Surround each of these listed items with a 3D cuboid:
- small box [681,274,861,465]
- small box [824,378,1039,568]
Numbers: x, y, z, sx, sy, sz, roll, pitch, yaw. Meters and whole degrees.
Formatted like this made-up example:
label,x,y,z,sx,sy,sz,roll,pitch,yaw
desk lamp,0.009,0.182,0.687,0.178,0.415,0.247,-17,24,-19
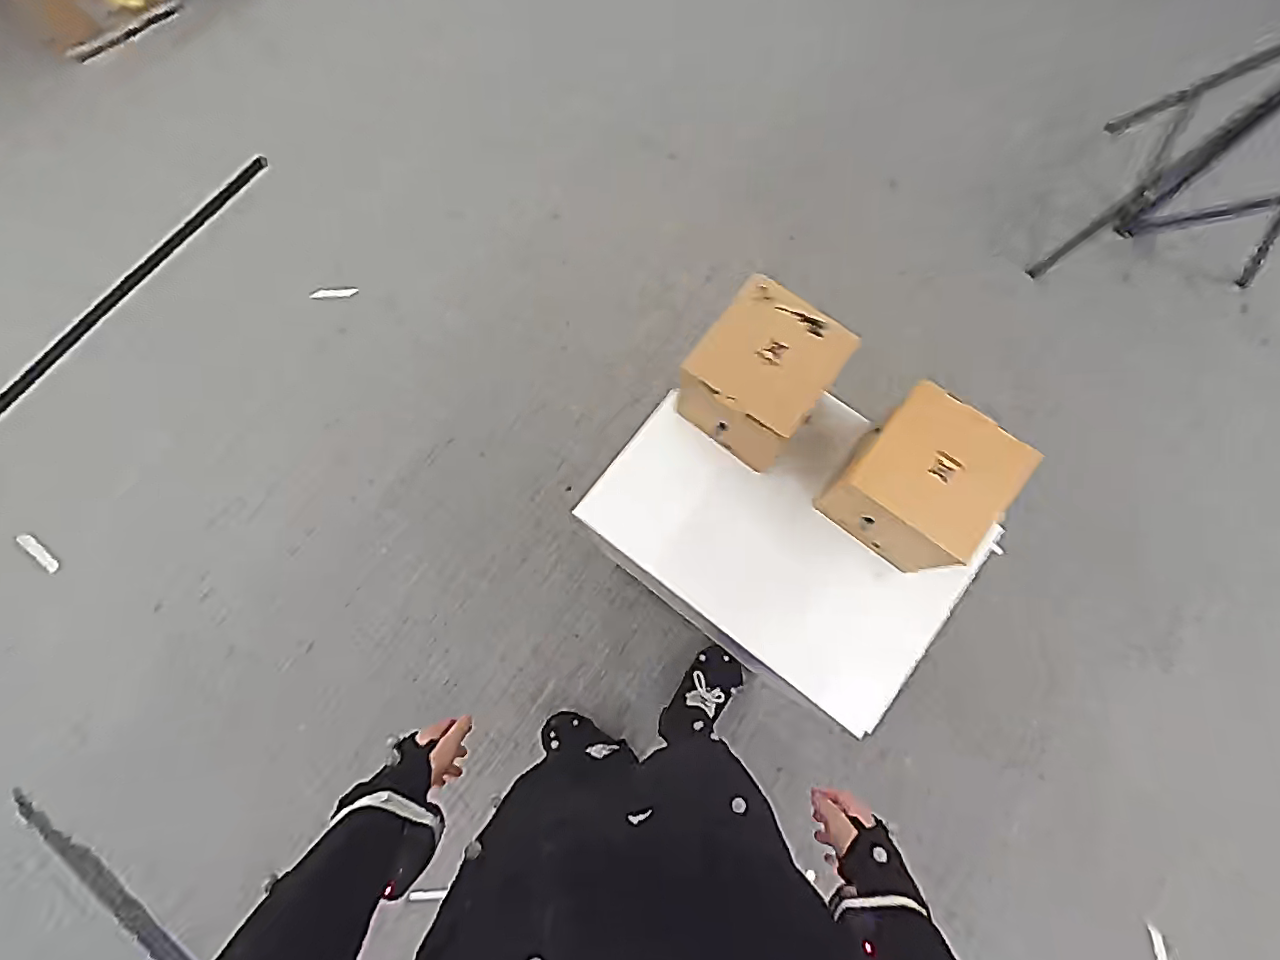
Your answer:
label,x,y,z,sx,sy,sz,roll,pitch,yaw
small box,0.174,-0.145,0.773,0.168,0.176,0.179,37,82,8
small box,0.373,0.002,0.733,0.168,0.176,0.179,37,80,10
